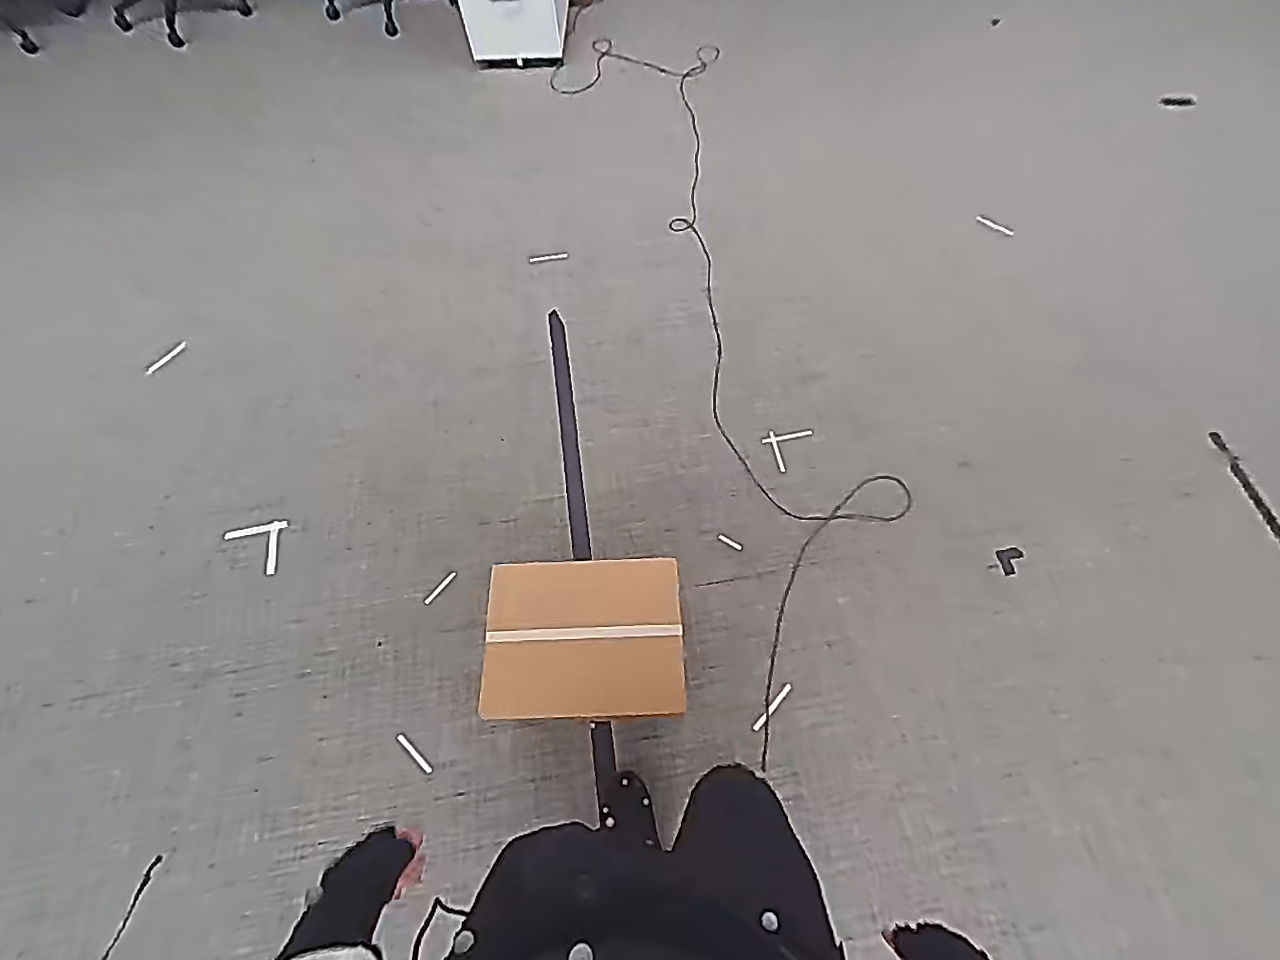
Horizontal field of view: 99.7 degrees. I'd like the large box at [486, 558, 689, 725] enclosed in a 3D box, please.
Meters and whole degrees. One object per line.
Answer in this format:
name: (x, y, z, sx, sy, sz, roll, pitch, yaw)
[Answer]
large box: (-0.105, 0.381, 1.237, 0.408, 0.320, 0.320, -2, 66, 1)
